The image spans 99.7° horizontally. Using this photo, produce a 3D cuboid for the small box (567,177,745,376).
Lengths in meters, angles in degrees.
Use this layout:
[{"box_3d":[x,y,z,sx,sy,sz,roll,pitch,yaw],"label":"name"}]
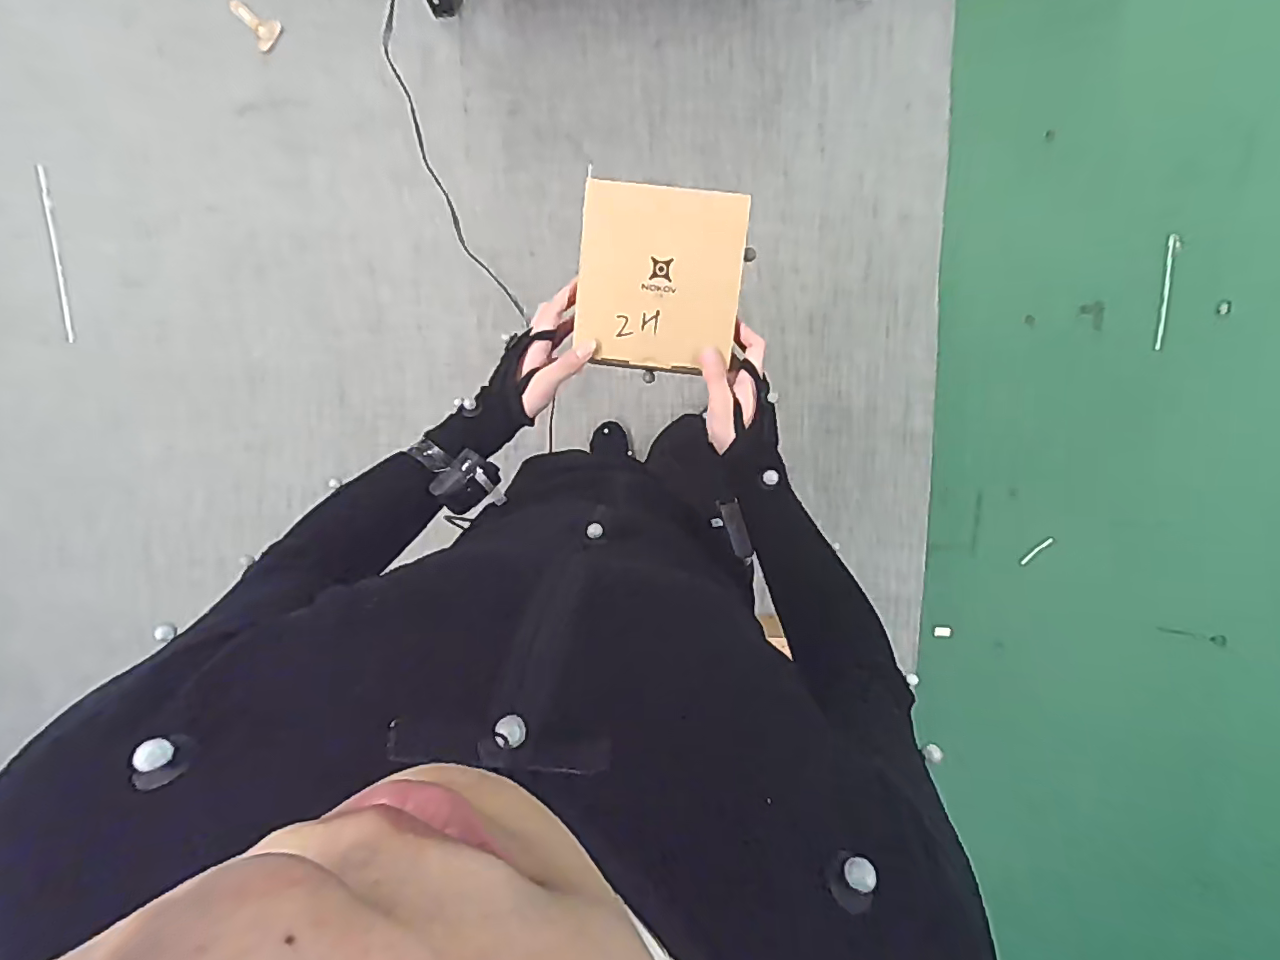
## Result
[{"box_3d":[0.017,-0.220,0.629,0.168,0.176,0.179,7,100,2],"label":"small box"}]
